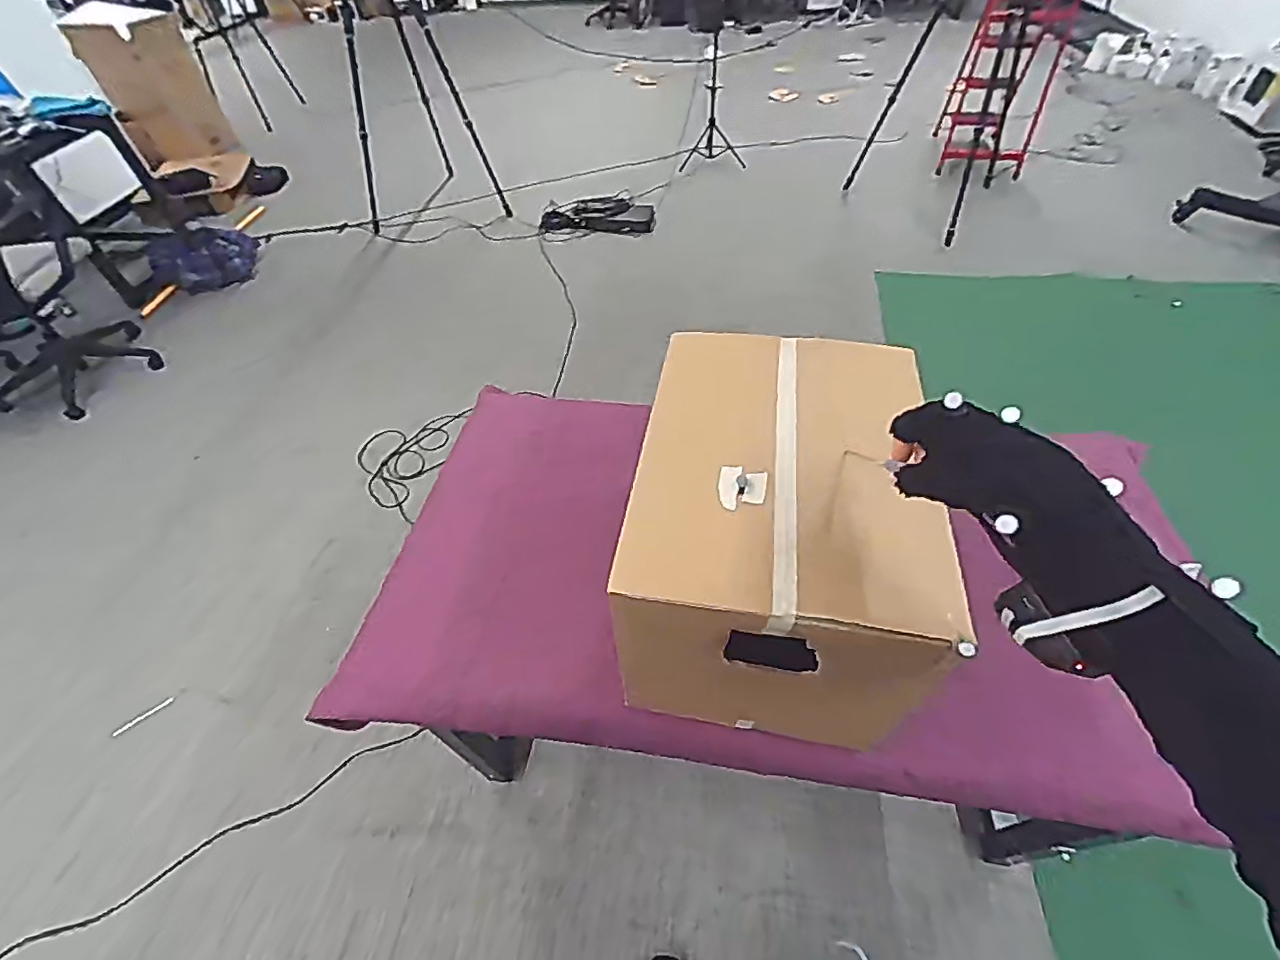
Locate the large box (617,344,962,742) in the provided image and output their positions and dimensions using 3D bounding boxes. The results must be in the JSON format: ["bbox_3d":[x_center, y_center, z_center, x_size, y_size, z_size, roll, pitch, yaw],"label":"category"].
[{"bbox_3d":[0.164,0.074,0.720,0.320,0.320,0.408,7,51,9],"label":"large box"}]
